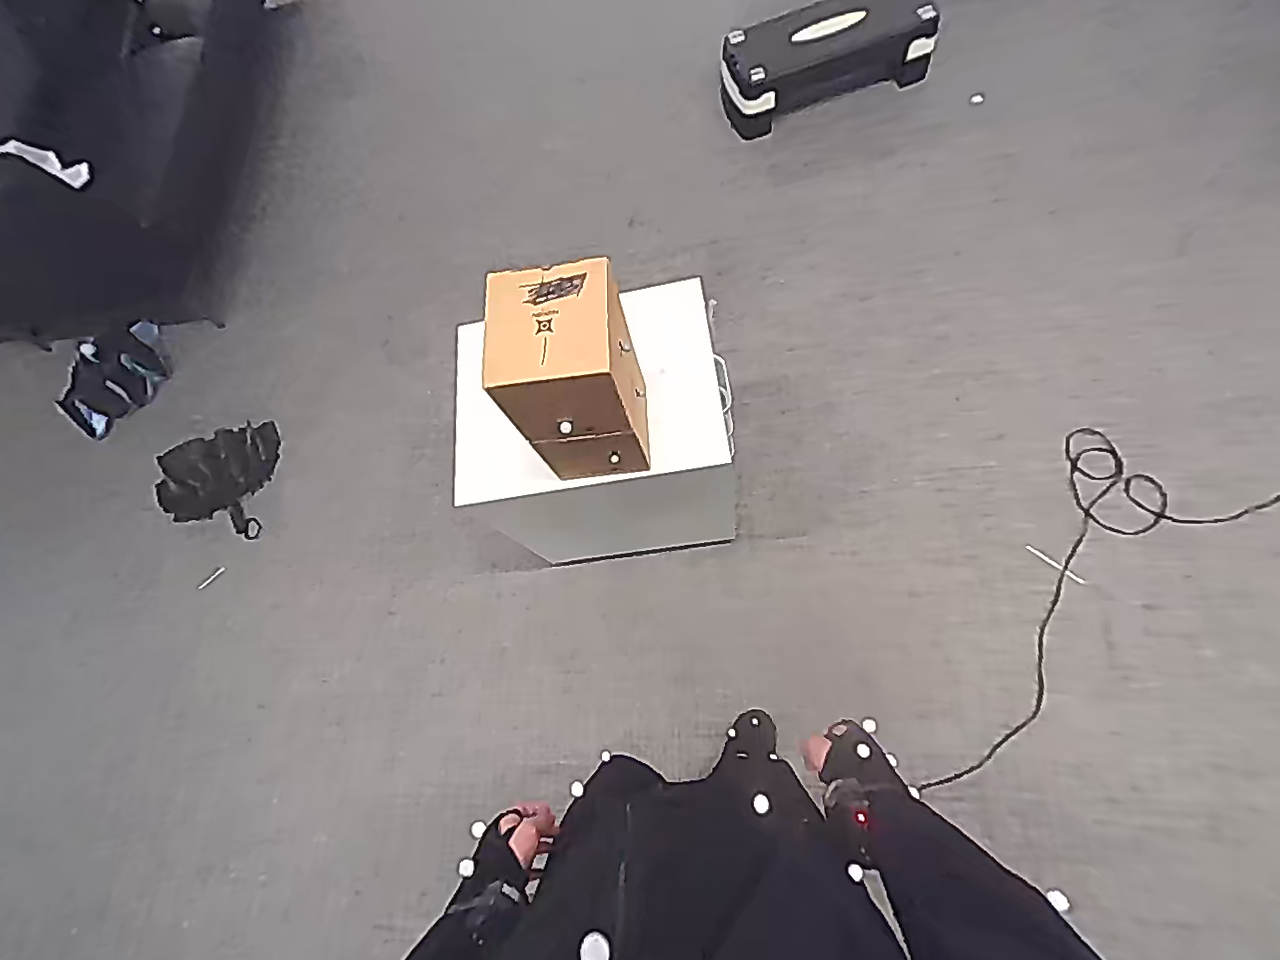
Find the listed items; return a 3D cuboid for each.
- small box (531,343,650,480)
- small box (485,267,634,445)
[{"bbox_3d":[-0.077,-0.108,0.916,0.168,0.176,0.179,-6,67,7],"label":"small box"},{"bbox_3d":[-0.103,-0.167,0.765,0.168,0.176,0.179,-5,69,8],"label":"small box"}]
